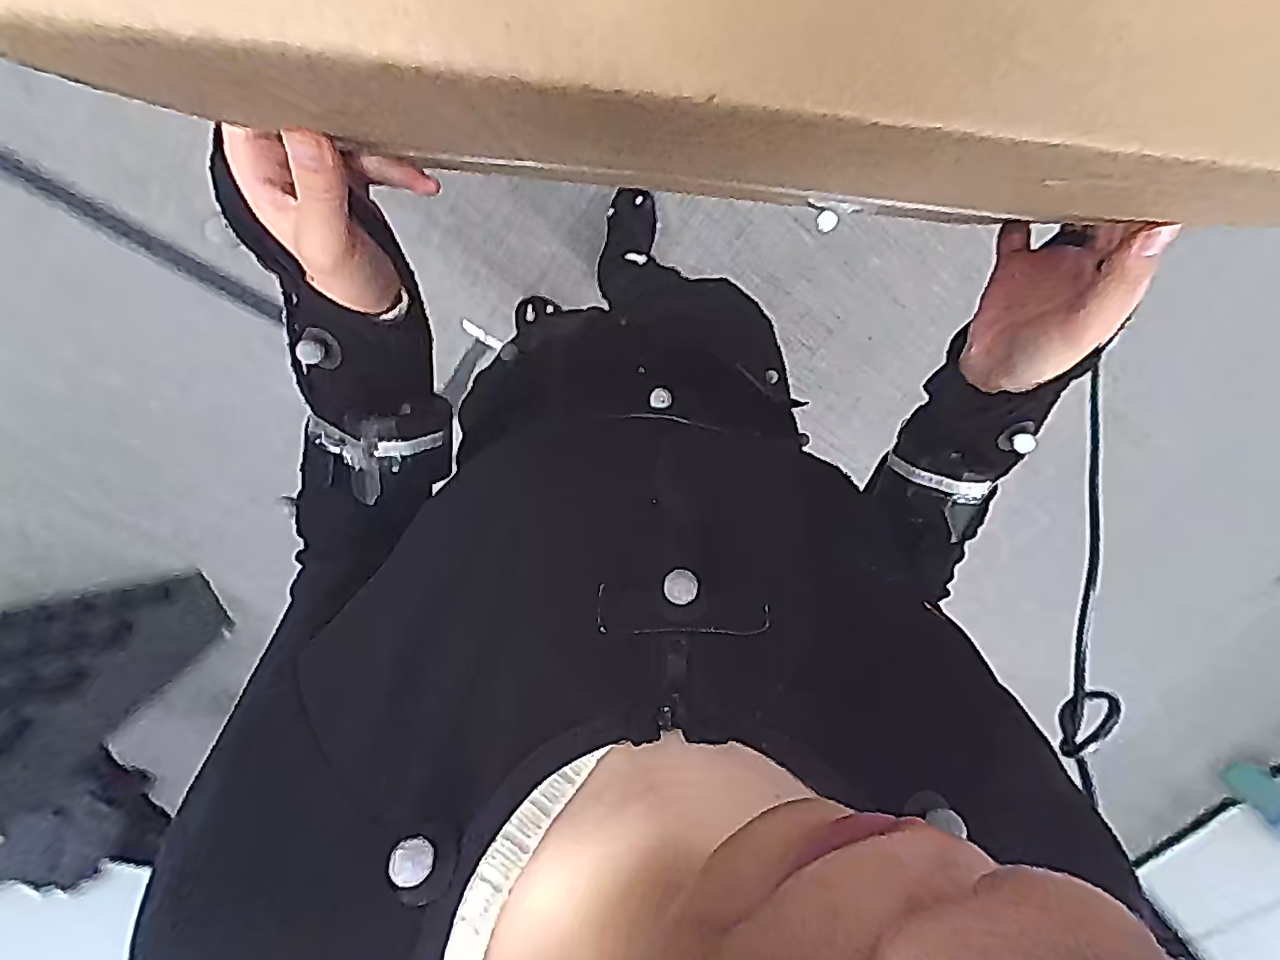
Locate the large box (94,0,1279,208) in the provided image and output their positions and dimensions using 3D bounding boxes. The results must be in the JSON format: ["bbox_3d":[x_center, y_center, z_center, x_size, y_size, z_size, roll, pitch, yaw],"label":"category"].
[{"bbox_3d":[0.067,-0.290,0.183,0.408,0.320,0.320,3,117,-7],"label":"large box"}]
